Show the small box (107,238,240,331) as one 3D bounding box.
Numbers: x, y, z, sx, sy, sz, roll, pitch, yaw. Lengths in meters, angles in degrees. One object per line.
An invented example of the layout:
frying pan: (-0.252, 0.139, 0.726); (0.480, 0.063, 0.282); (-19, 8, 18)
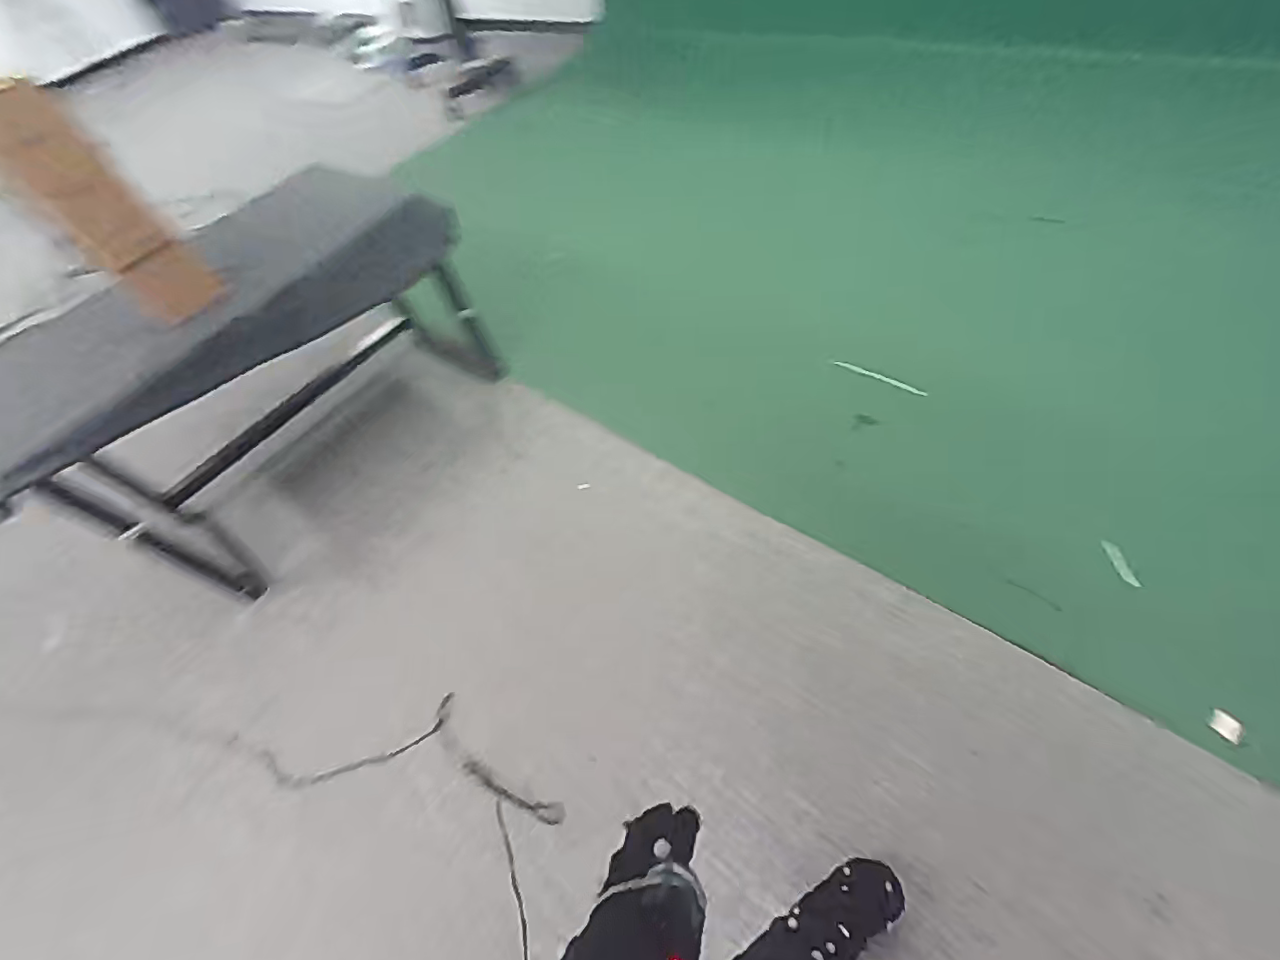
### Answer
small box: (-1.197, -0.515, 1.400); (0.168, 0.176, 0.179); (29, 64, 28)

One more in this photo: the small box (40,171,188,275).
small box: (-1.222, -0.607, 1.266); (0.179, 0.176, 0.168); (28, 65, 27)

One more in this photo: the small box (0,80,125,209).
small box: (-1.245, -0.704, 1.135); (0.168, 0.176, 0.179); (26, 63, 27)
